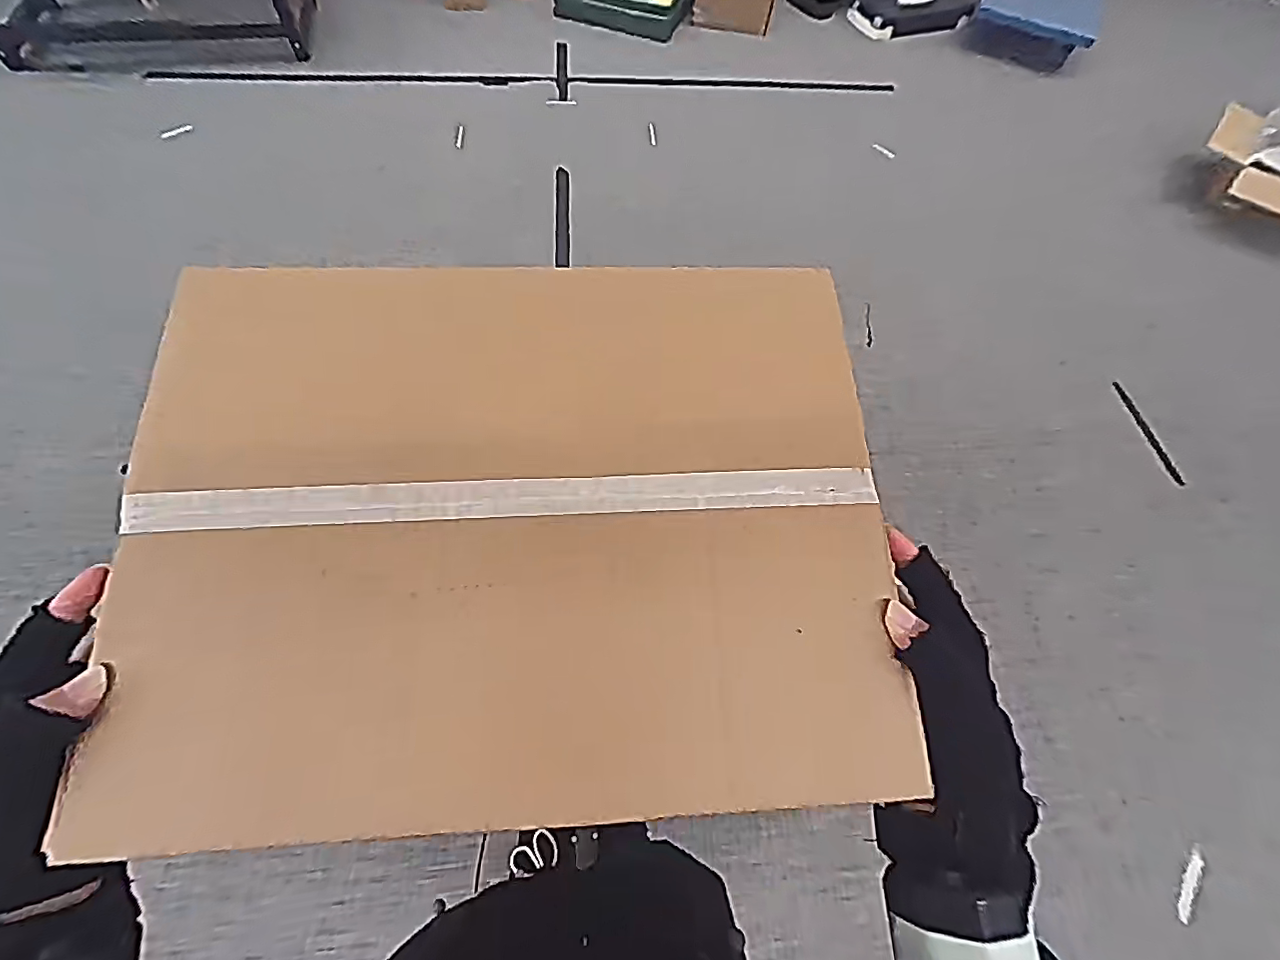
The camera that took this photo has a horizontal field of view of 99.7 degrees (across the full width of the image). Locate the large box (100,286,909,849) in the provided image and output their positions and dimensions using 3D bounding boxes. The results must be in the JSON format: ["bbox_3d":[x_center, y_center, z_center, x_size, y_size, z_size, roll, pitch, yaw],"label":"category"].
[{"bbox_3d":[-0.075,0.065,0.453,0.408,0.320,0.320,-2,72,-4],"label":"large box"}]
